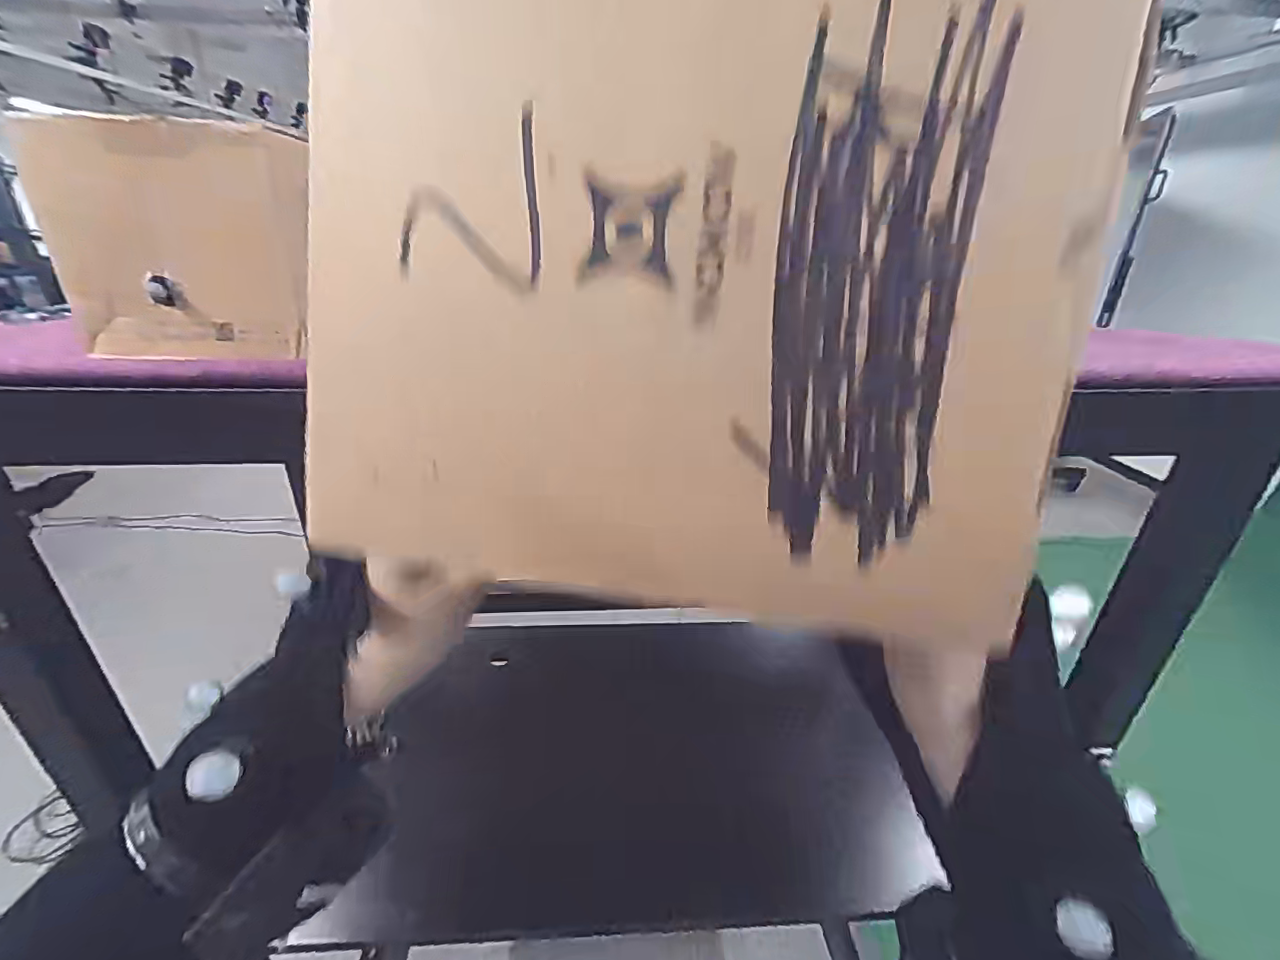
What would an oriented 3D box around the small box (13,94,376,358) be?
[{"bbox_3d":[-0.346,-0.209,0.471,0.168,0.176,0.179,-1,24,-7],"label":"small box"}]
